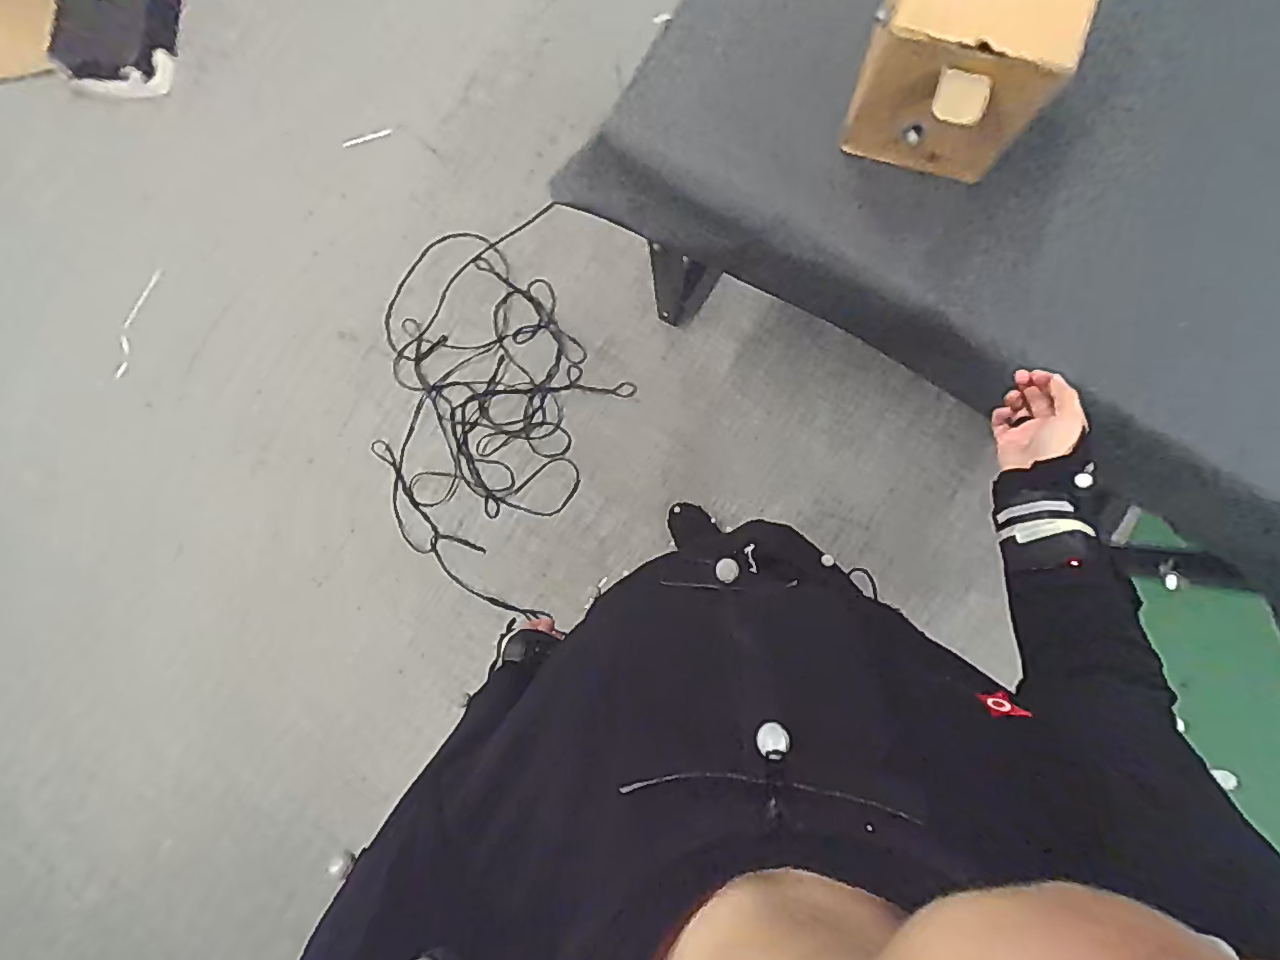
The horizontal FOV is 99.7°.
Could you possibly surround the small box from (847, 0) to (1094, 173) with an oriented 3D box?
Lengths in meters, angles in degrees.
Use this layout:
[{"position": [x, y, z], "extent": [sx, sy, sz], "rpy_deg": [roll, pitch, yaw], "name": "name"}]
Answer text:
[{"position": [0.338, -0.469, 0.568], "extent": [0.168, 0.176, 0.179], "rpy_deg": [16, 89, 5], "name": "small box"}]
